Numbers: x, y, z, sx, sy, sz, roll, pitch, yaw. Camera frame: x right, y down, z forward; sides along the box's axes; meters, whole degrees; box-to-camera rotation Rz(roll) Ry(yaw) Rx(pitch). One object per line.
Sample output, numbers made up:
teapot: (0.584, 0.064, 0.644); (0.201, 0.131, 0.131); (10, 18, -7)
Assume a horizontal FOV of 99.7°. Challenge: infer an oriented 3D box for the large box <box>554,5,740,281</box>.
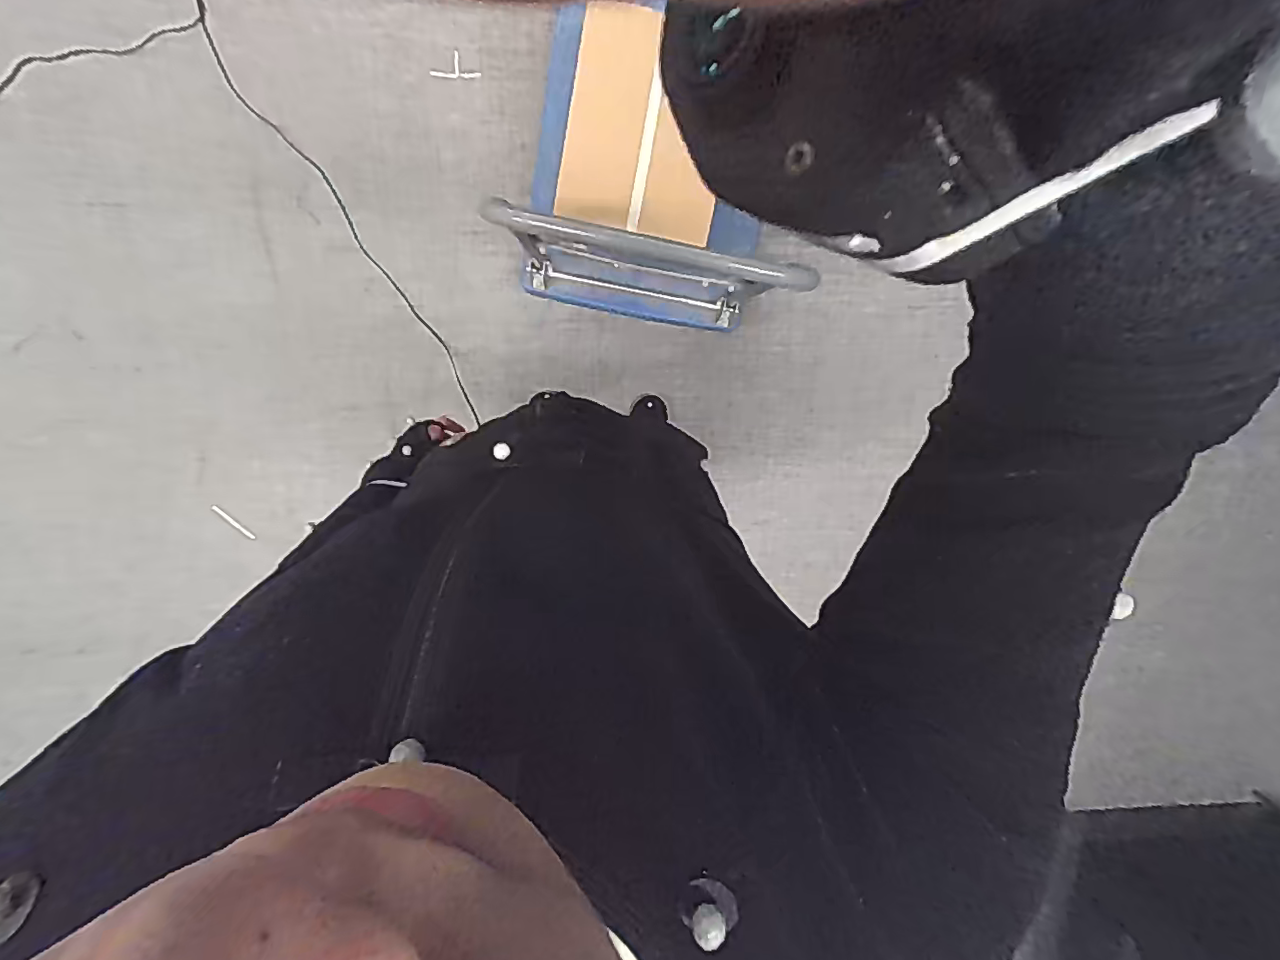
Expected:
large box: (0.004, -0.708, 1.212); (0.320, 0.320, 0.408); (11, 97, -5)
